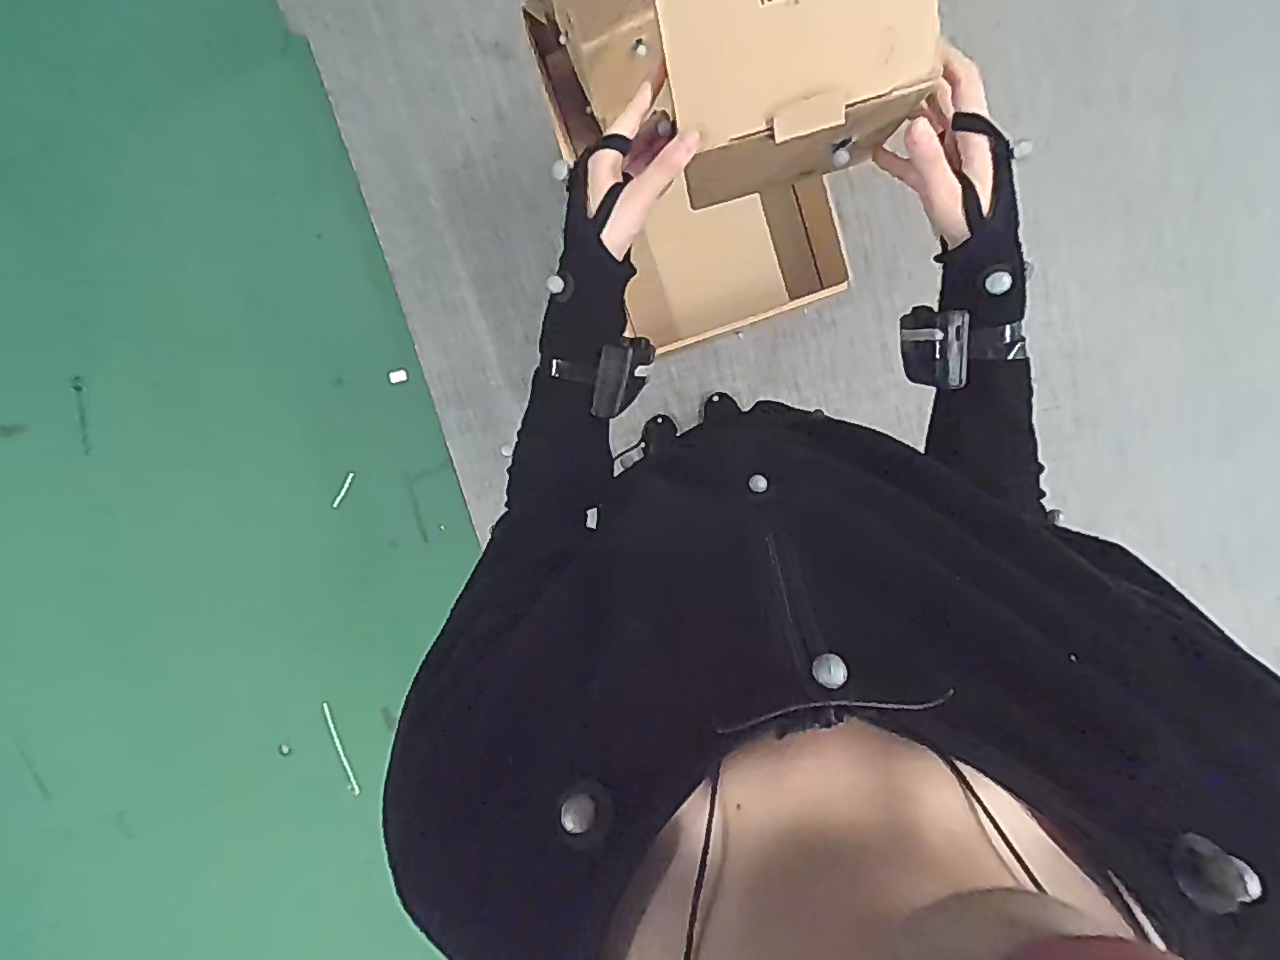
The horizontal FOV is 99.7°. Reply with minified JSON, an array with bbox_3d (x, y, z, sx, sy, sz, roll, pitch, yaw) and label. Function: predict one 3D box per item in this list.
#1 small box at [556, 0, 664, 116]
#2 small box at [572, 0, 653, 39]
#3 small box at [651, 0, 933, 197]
[{"bbox_3d":[-0.020,-0.672,0.769,0.179,0.176,0.168,-22,96,7],"label":"small box"},{"bbox_3d":[-0.029,-0.662,0.604,0.168,0.176,0.179,-20,97,7],"label":"small box"},{"bbox_3d":[0.097,-0.334,0.407,0.168,0.176,0.179,-10,103,9],"label":"small box"}]
